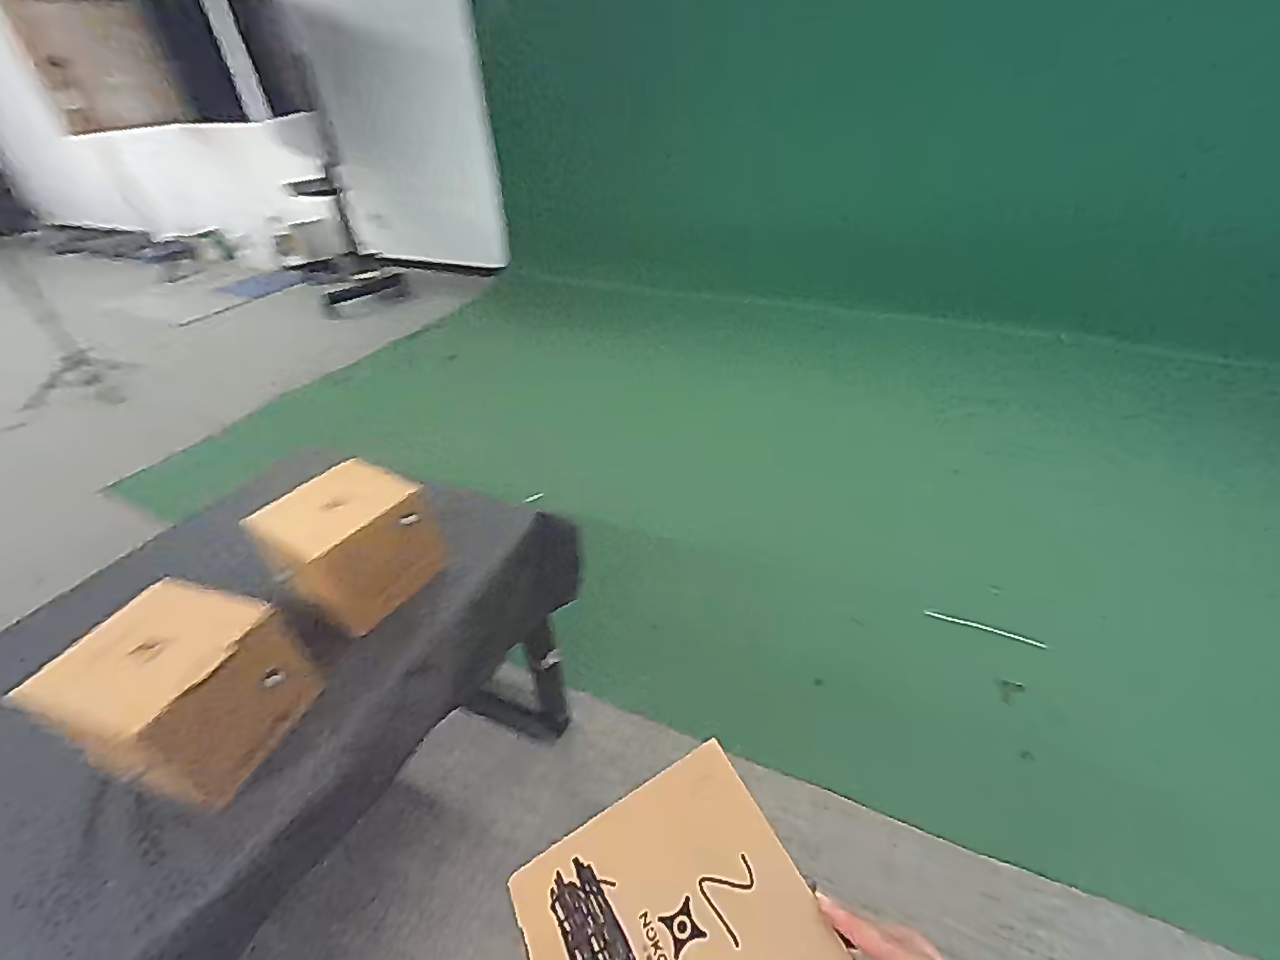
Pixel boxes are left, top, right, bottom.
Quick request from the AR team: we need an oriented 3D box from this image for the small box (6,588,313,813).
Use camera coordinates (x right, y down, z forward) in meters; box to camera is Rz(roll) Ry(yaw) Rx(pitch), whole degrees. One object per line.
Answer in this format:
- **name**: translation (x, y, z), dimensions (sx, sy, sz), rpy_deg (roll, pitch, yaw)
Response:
- **small box**: translation (-0.533, 0.256, 0.633), dimensions (0.179, 0.176, 0.168), rpy_deg (7, 37, 14)

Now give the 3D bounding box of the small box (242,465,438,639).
- **small box**: translation (-0.441, 0.107, 0.825), dimensions (0.168, 0.176, 0.179), rpy_deg (18, 41, 25)
